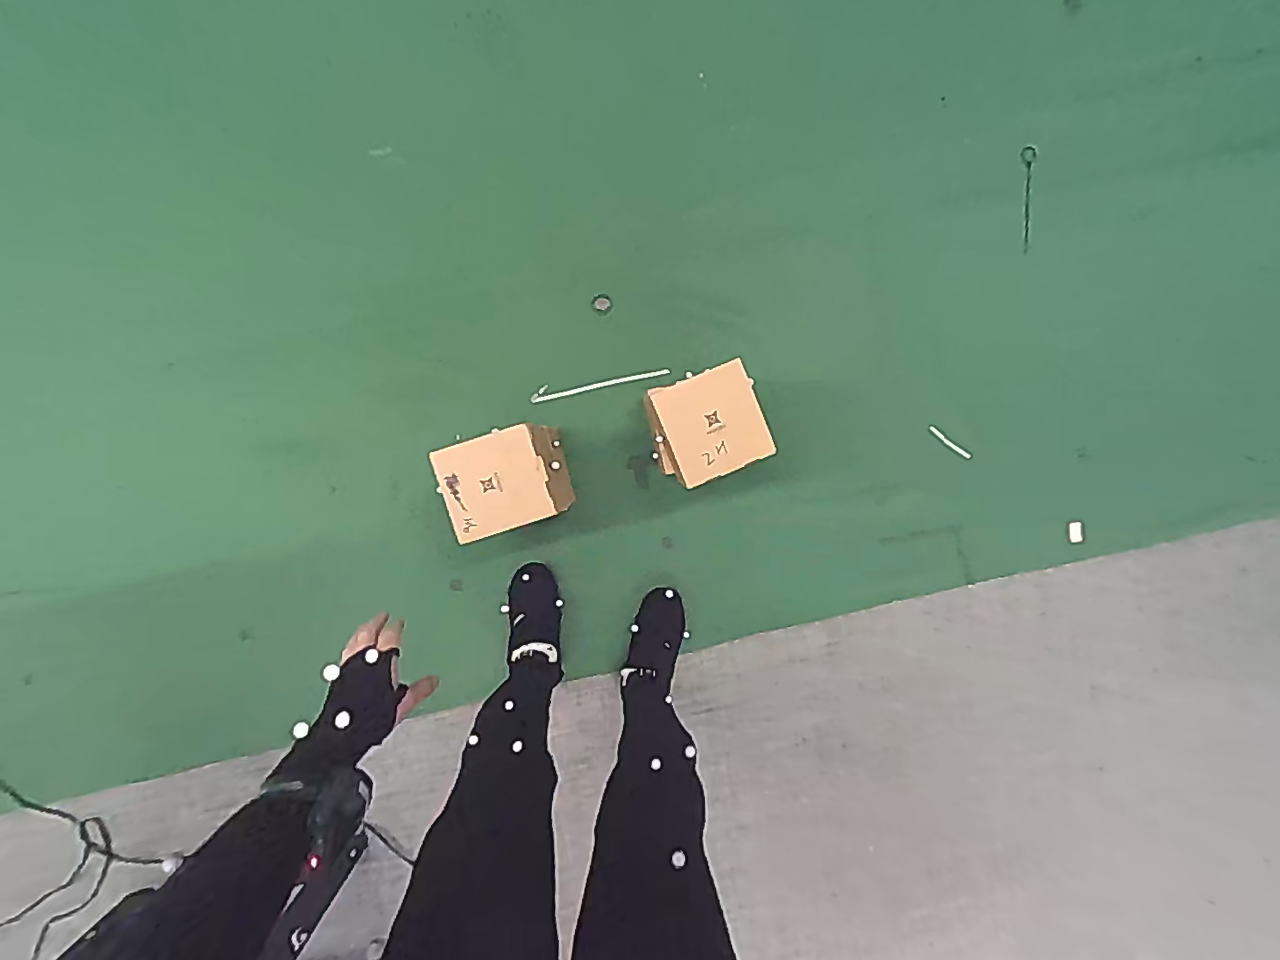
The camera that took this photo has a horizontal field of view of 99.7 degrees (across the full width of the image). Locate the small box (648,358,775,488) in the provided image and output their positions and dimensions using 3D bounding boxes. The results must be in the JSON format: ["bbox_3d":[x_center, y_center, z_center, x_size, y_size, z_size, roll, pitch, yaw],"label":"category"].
[{"bbox_3d":[0.119,-0.100,0.984,0.168,0.176,0.179,-23,95,1],"label":"small box"}]

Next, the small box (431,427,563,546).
[{"bbox_3d":[-0.247,0.006,0.988,0.179,0.176,0.168,-17,93,0],"label":"small box"}]

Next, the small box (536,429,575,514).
[{"bbox_3d":[-0.244,-0.004,1.152,0.168,0.176,0.179,-15,93,1],"label":"small box"}]
